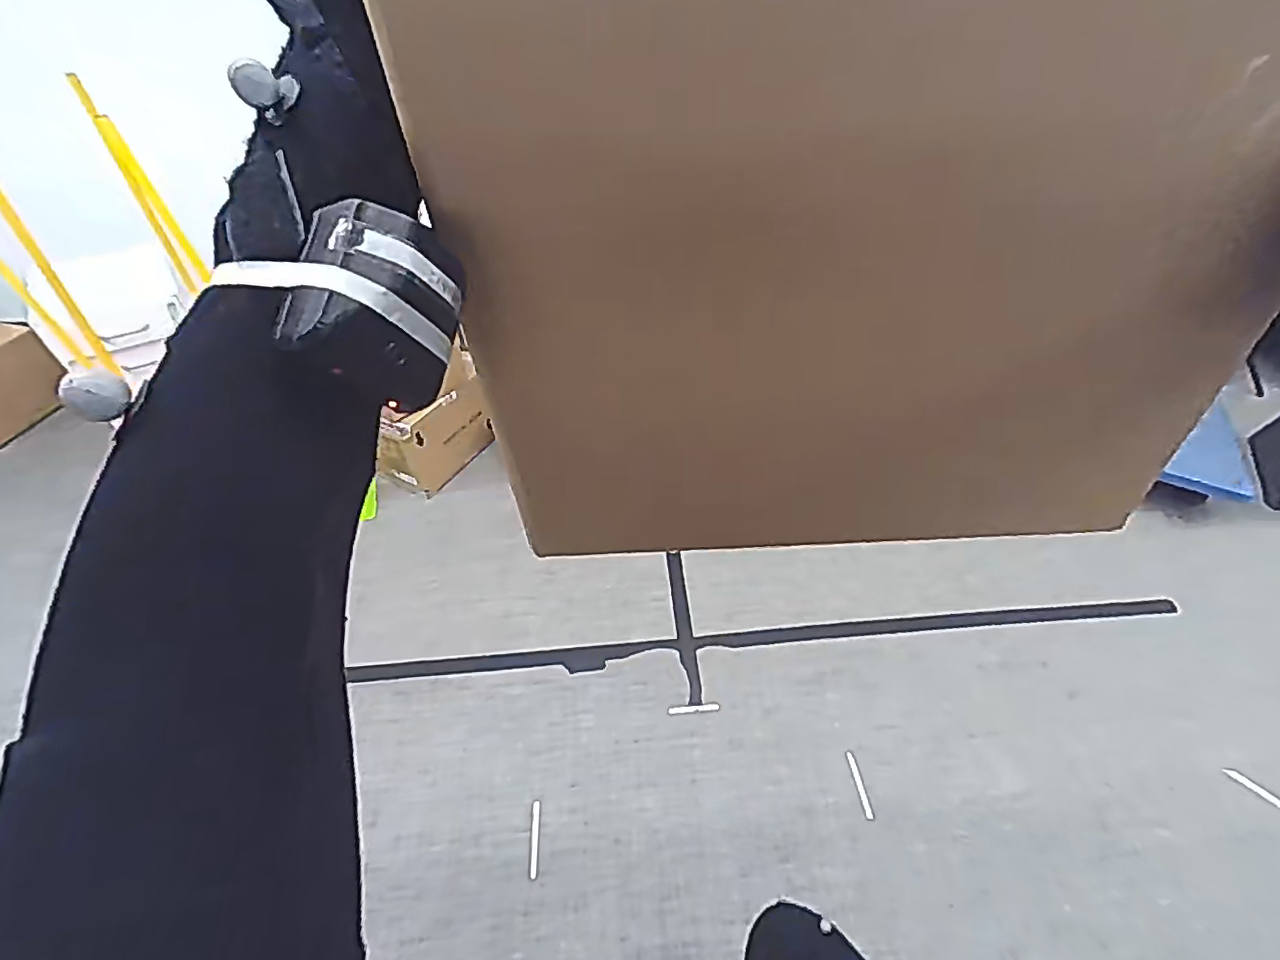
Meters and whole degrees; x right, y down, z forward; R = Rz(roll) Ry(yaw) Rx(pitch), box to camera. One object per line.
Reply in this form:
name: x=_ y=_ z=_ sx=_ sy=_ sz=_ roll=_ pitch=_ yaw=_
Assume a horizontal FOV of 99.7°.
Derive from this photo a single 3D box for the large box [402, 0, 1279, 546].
large box: x=0.110 y=-0.172 z=0.403 sx=0.408 sy=0.320 sz=0.320 roll=-3 pitch=41 yaw=2
